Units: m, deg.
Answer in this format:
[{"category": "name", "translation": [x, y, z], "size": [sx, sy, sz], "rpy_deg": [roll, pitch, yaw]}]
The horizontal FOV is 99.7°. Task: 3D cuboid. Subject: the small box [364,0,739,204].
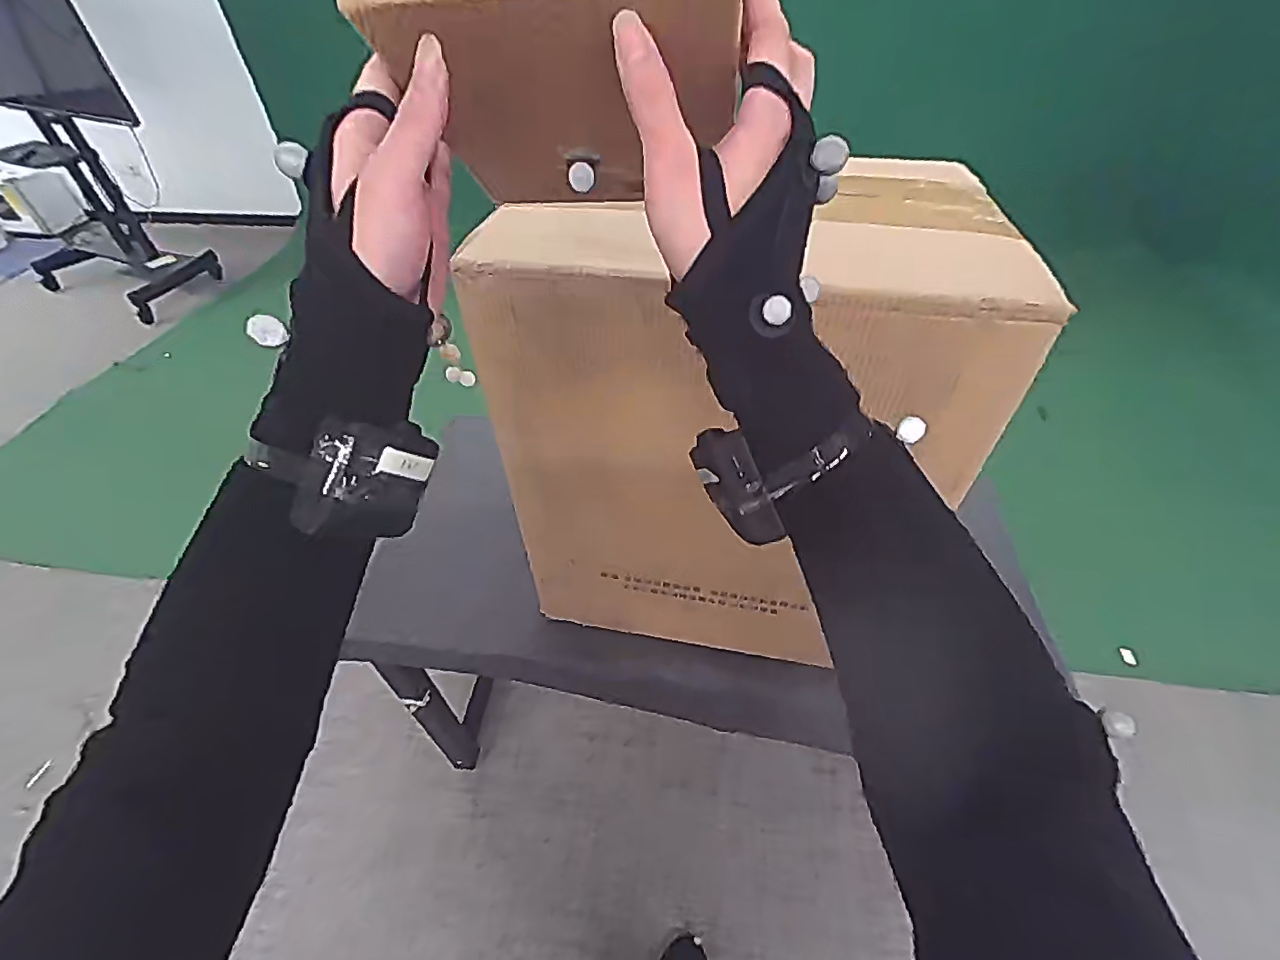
[{"category": "small box", "translation": [-0.028, -0.282, 0.298], "size": [0.168, 0.179, 0.176], "rpy_deg": [3, 0, 8]}]
